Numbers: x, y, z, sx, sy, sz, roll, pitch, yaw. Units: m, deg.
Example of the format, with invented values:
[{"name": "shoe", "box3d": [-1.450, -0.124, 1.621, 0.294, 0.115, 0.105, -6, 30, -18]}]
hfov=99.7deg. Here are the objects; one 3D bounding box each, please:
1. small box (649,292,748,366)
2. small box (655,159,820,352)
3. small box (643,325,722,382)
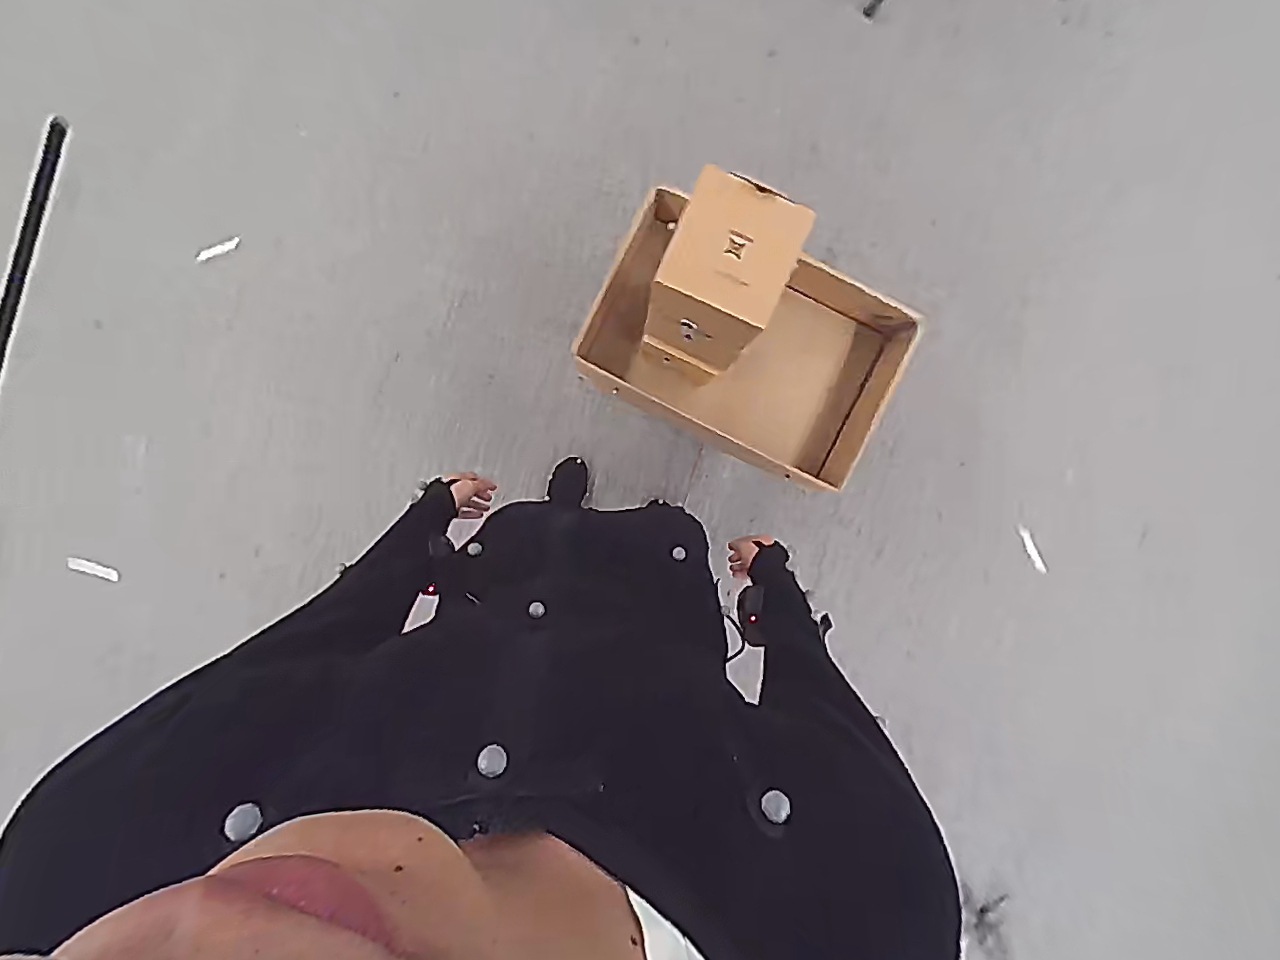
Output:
[{"name": "small box", "box3d": [0.126, -0.317, 0.955, 0.179, 0.176, 0.168, 27, 91, -4]}, {"name": "small box", "box3d": [0.128, -0.312, 0.792, 0.168, 0.176, 0.179, 25, 90, -2]}, {"name": "small box", "box3d": [0.113, -0.319, 1.120, 0.168, 0.176, 0.179, 25, 91, -4]}]
